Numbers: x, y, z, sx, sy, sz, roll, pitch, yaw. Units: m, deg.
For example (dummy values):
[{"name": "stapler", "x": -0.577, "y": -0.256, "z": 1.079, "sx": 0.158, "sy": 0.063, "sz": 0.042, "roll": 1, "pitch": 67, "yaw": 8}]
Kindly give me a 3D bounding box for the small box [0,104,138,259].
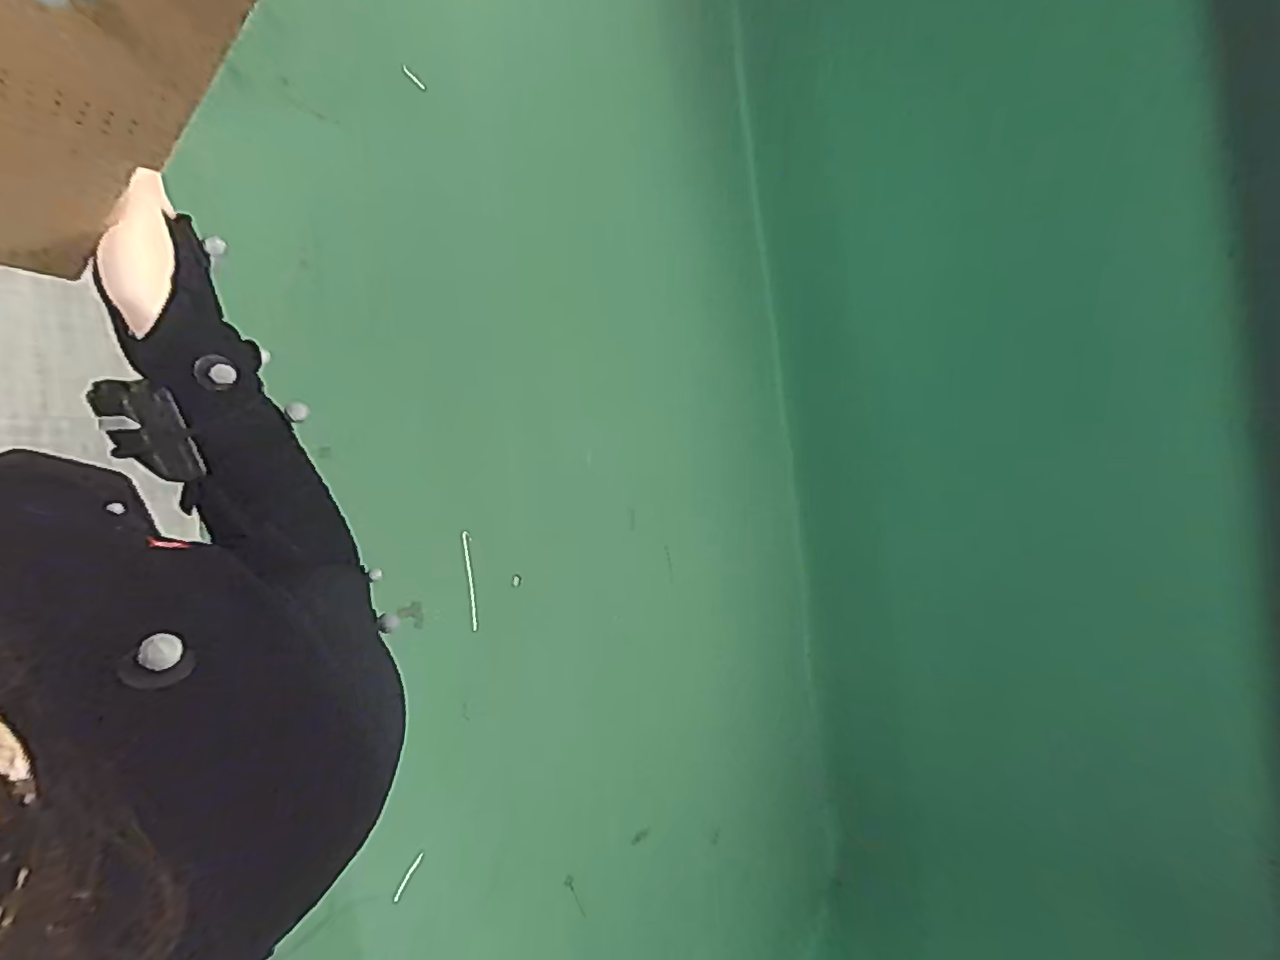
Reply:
[{"name": "small box", "x": -0.330, "y": -0.219, "z": 0.219, "sx": 0.168, "sy": 0.176, "sz": 0.179, "roll": 1, "pitch": 82, "yaw": -54}]
